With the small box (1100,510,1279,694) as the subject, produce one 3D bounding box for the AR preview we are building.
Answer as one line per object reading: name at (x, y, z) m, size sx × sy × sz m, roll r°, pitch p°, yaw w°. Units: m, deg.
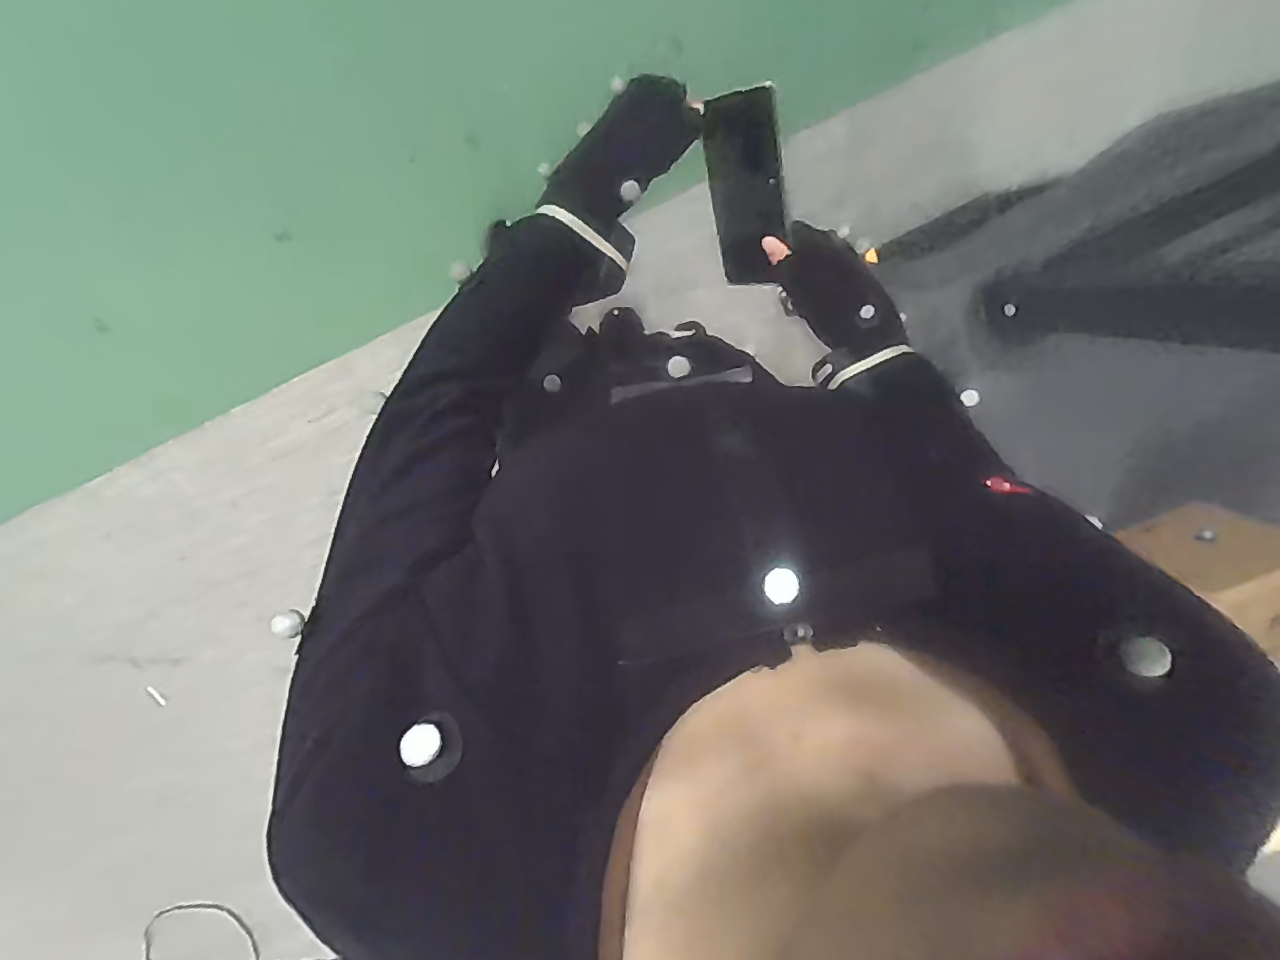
small box at (0.809, 0.160, 0.774) m, size 0.168 × 0.176 × 0.179 m, roll -22°, pitch 109°, yaw 3°
